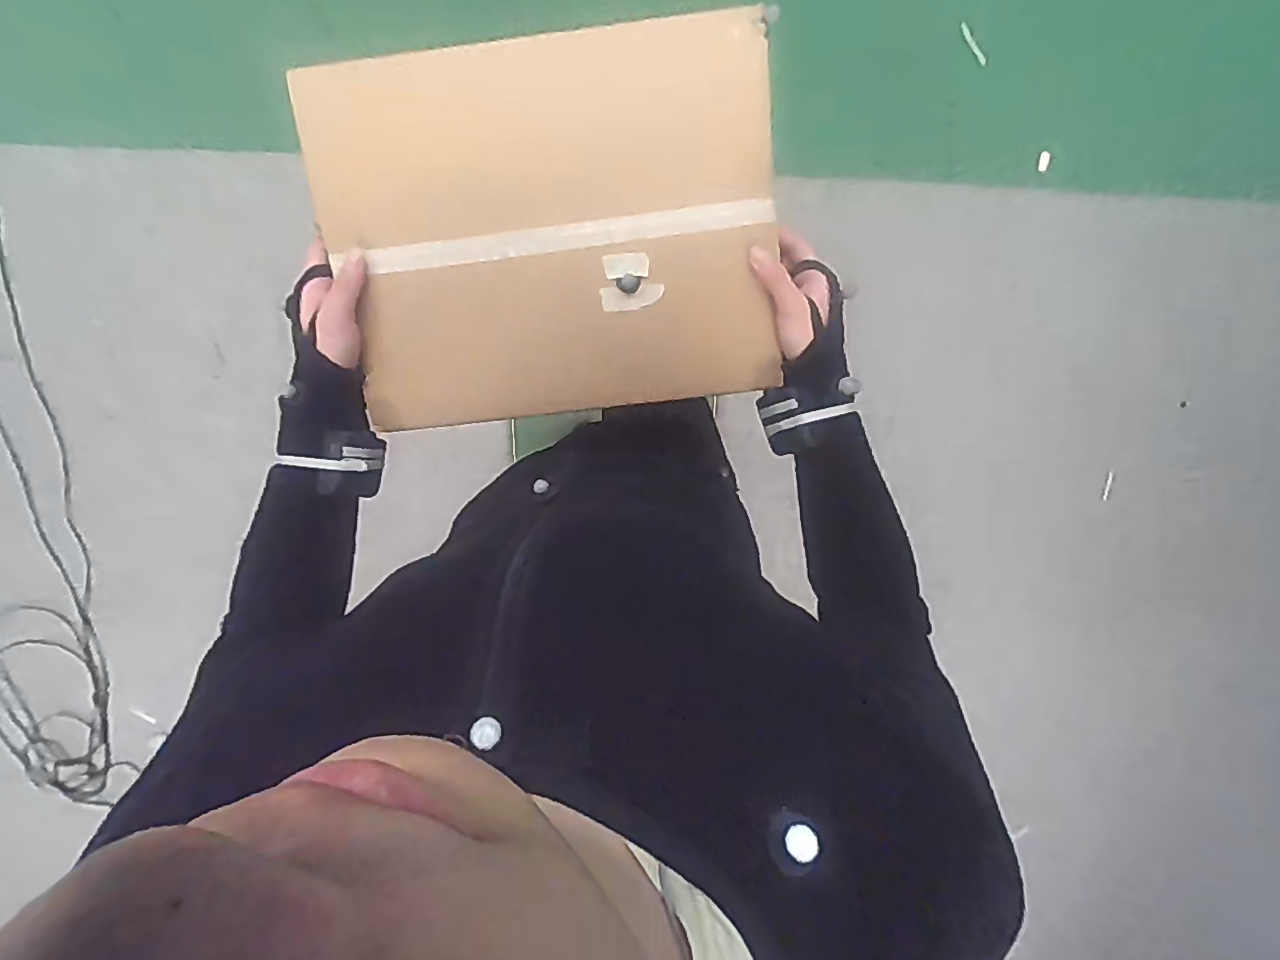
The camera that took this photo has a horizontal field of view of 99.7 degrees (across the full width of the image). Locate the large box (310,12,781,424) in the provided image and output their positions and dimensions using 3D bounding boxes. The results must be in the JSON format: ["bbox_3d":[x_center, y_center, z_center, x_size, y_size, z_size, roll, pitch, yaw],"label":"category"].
[{"bbox_3d":[-0.078,-0.263,0.646,0.408,0.320,0.320,-7,104,1],"label":"large box"}]
